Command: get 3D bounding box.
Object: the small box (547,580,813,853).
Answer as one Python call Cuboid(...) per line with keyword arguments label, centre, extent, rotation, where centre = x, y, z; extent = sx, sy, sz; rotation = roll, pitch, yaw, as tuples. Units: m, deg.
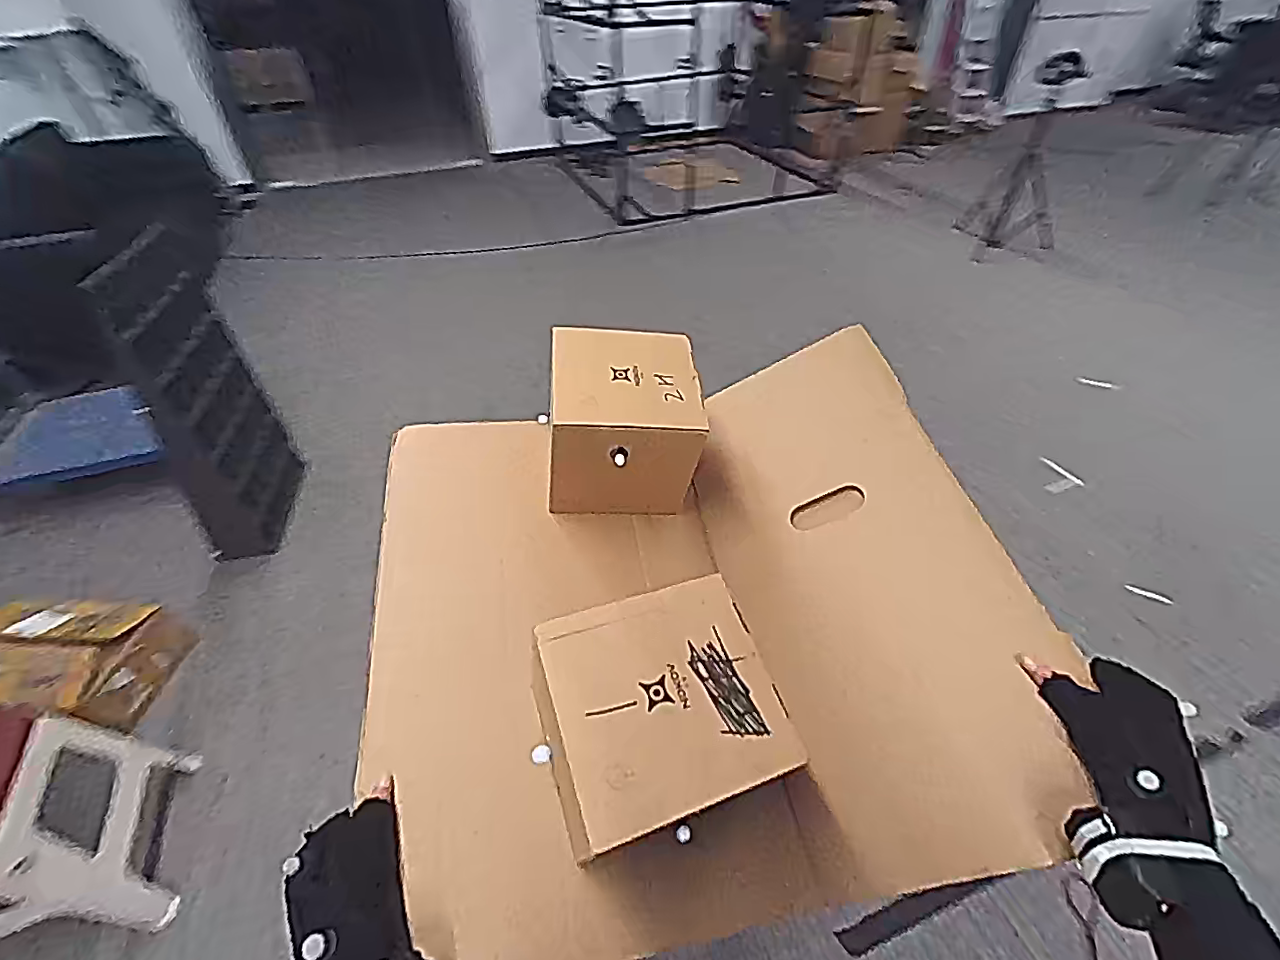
Cuboid(label="small box", centre=(0.017, 0.217, 0.497), extent=(0.179, 0.176, 0.168), rotation=(-11, 56, -18))
